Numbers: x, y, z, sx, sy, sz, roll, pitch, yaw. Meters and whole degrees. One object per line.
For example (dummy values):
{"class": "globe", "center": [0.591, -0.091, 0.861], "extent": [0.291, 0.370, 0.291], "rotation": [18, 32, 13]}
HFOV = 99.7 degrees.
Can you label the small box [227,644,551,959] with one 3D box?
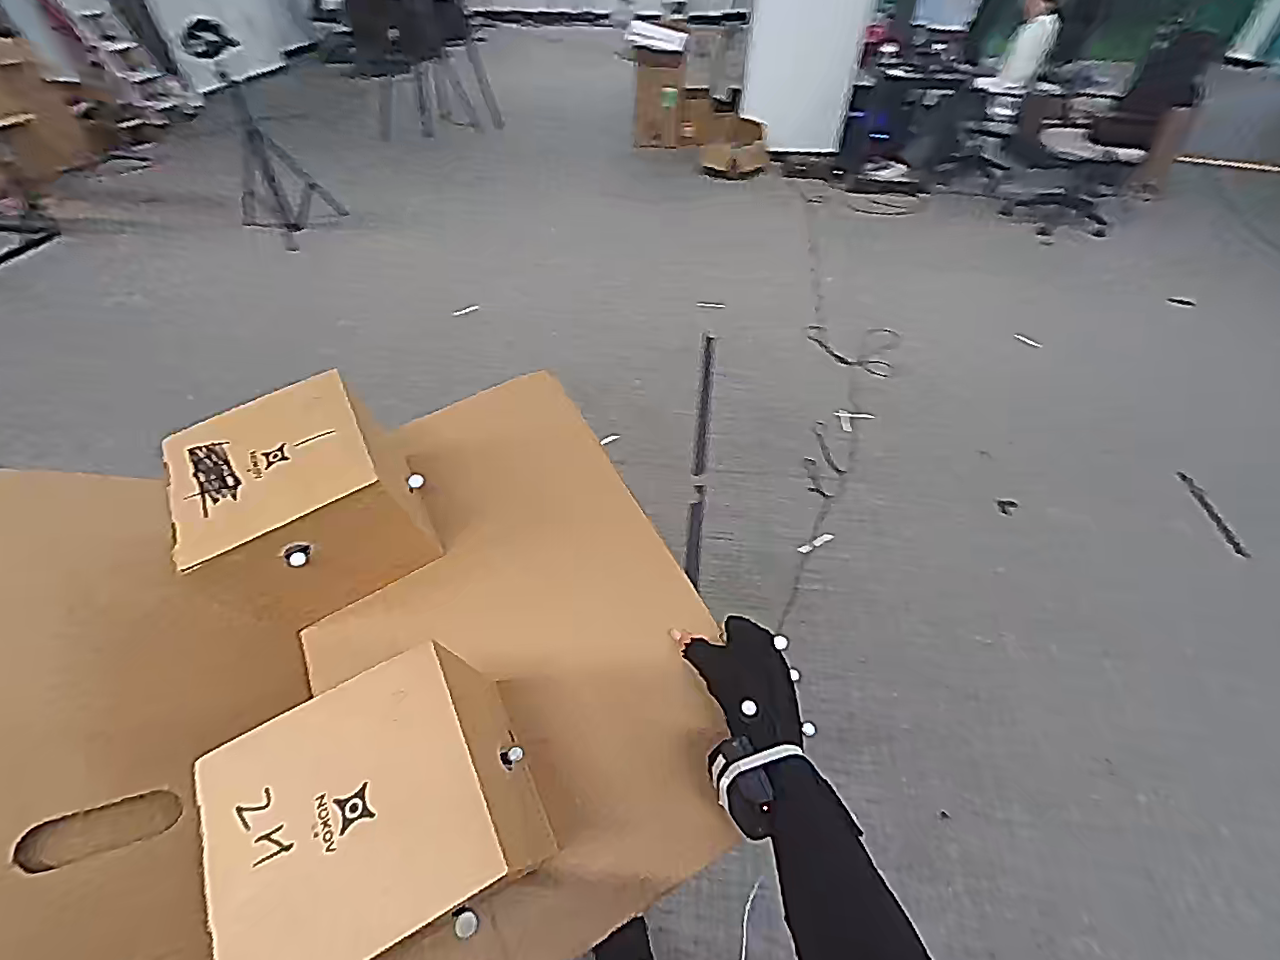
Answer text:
{"class": "small box", "center": [-0.183, 0.262, 0.436], "extent": [0.179, 0.176, 0.168], "rotation": [-25, 60, -10]}
